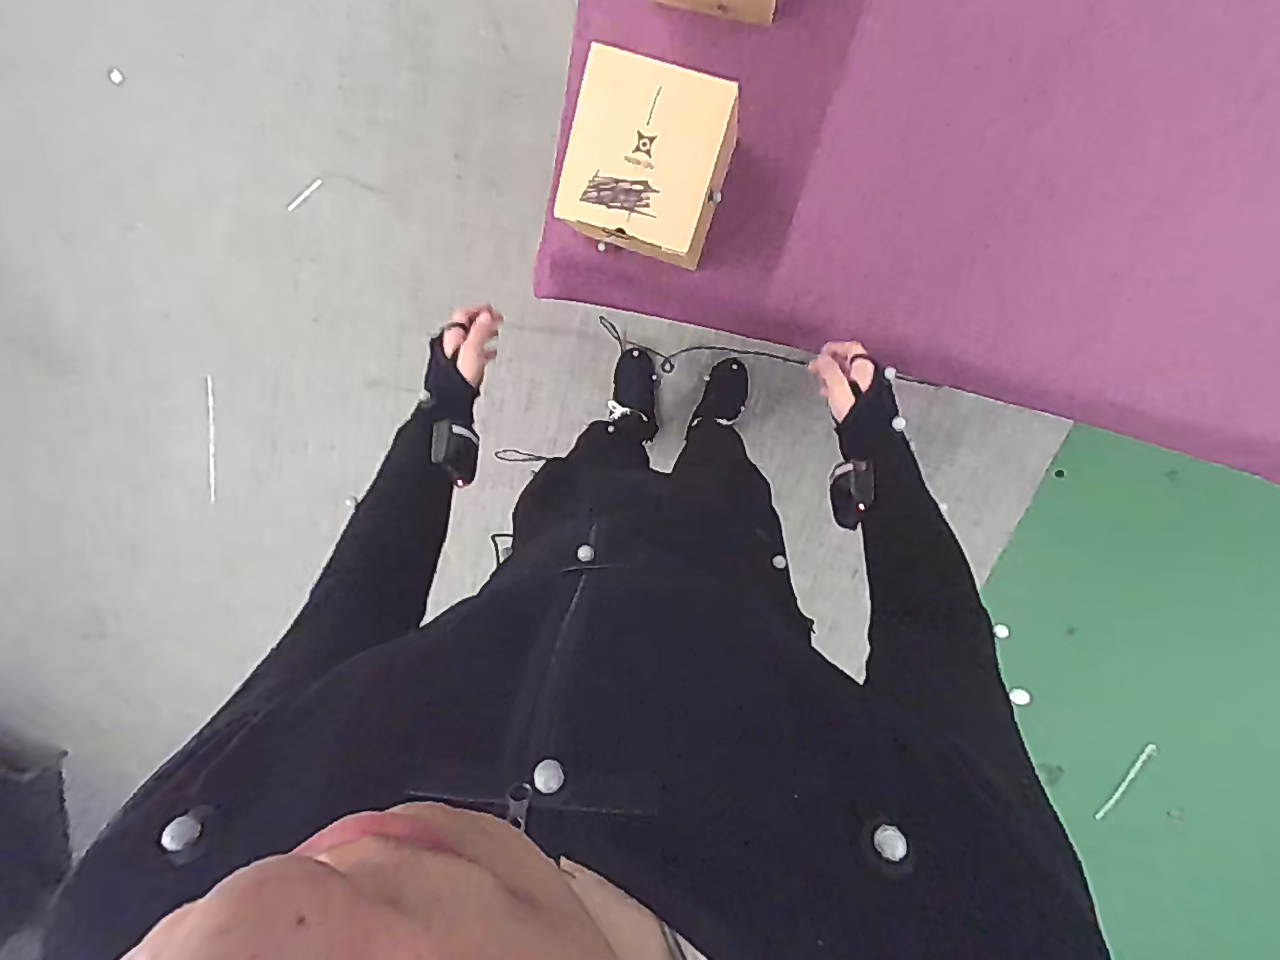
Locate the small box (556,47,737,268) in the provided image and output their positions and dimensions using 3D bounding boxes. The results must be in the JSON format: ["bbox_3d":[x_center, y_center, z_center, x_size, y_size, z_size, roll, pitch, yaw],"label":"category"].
[{"bbox_3d":[0.015,-0.376,0.668,0.168,0.176,0.179,19,108,3],"label":"small box"}]
